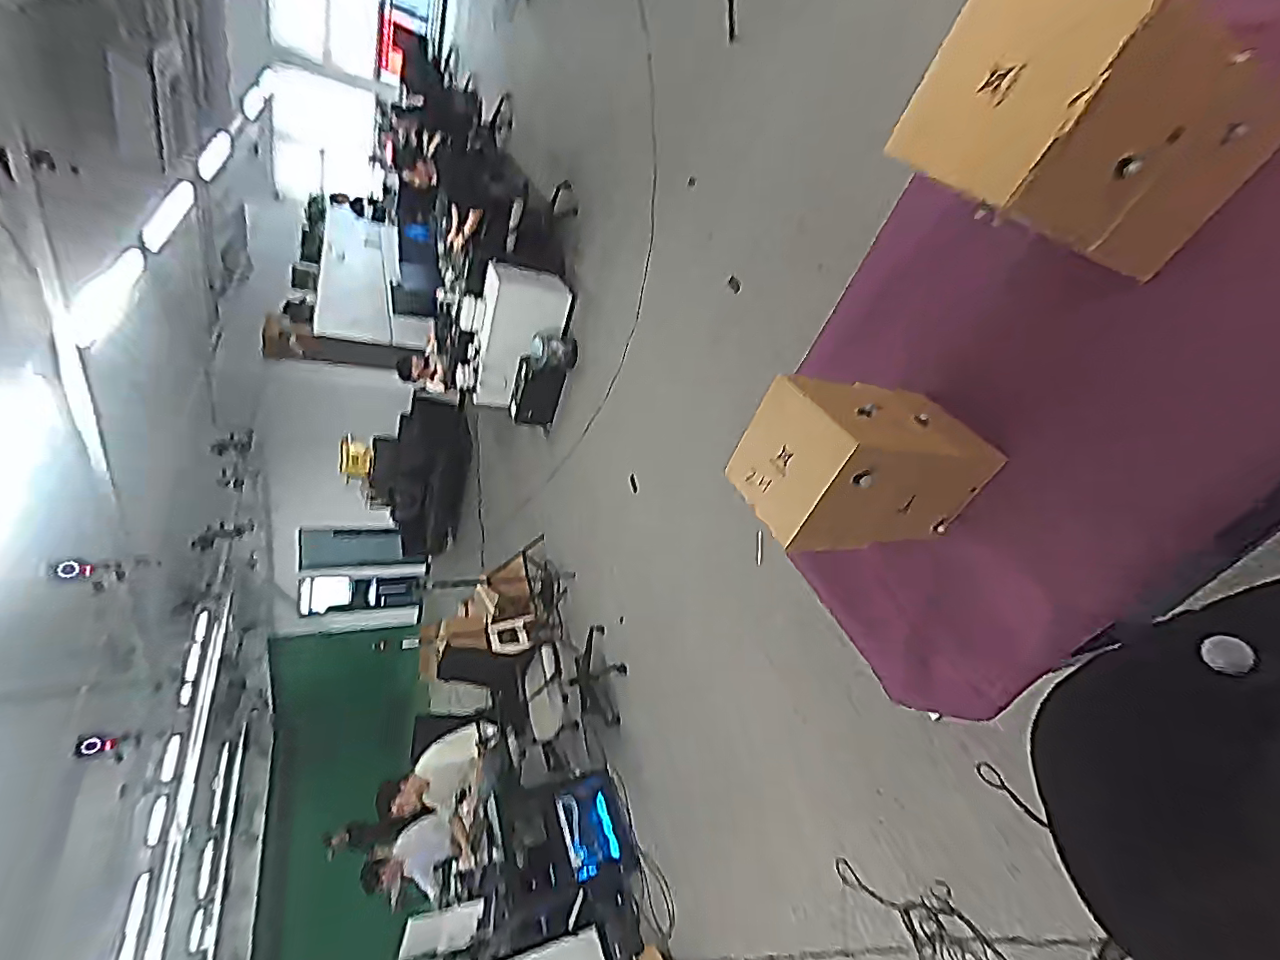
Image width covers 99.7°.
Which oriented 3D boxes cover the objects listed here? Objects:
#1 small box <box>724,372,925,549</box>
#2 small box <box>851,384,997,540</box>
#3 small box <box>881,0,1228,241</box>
[{"bbox_3d":[0.253,-0.025,0.745,0.168,0.176,0.179,60,137,43],"label":"small box"},{"bbox_3d":[0.394,-0.028,0.832,0.179,0.176,0.168,61,138,43],"label":"small box"},{"bbox_3d":[0.389,-0.358,0.528,0.179,0.176,0.168,62,139,40],"label":"small box"}]
